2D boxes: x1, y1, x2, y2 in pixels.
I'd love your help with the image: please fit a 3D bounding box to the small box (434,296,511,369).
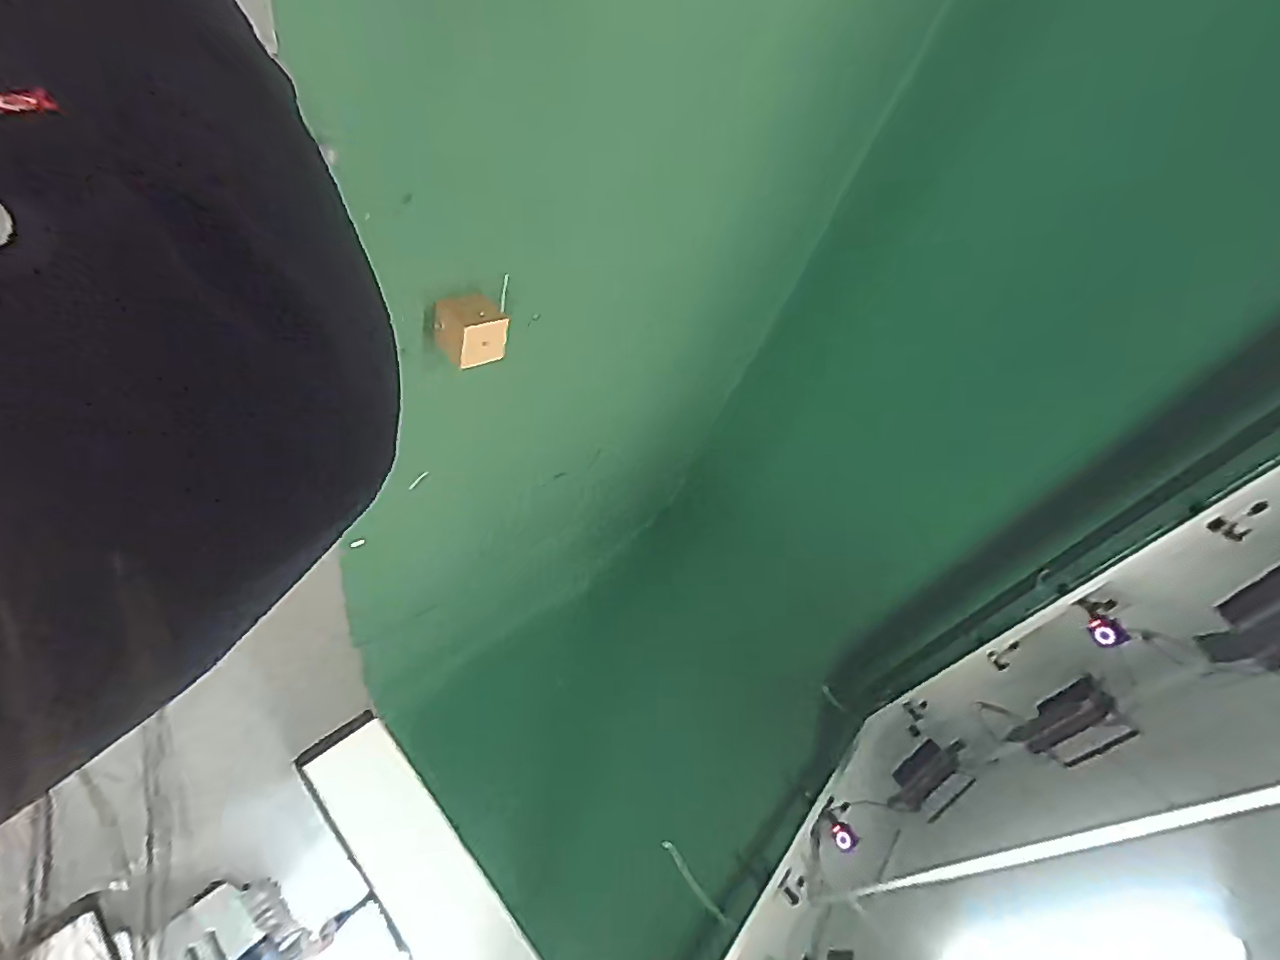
[{"bbox_3d":[-0.570,-0.505,1.834,0.179,0.176,0.168,-29,152,-43],"label":"small box"}]
